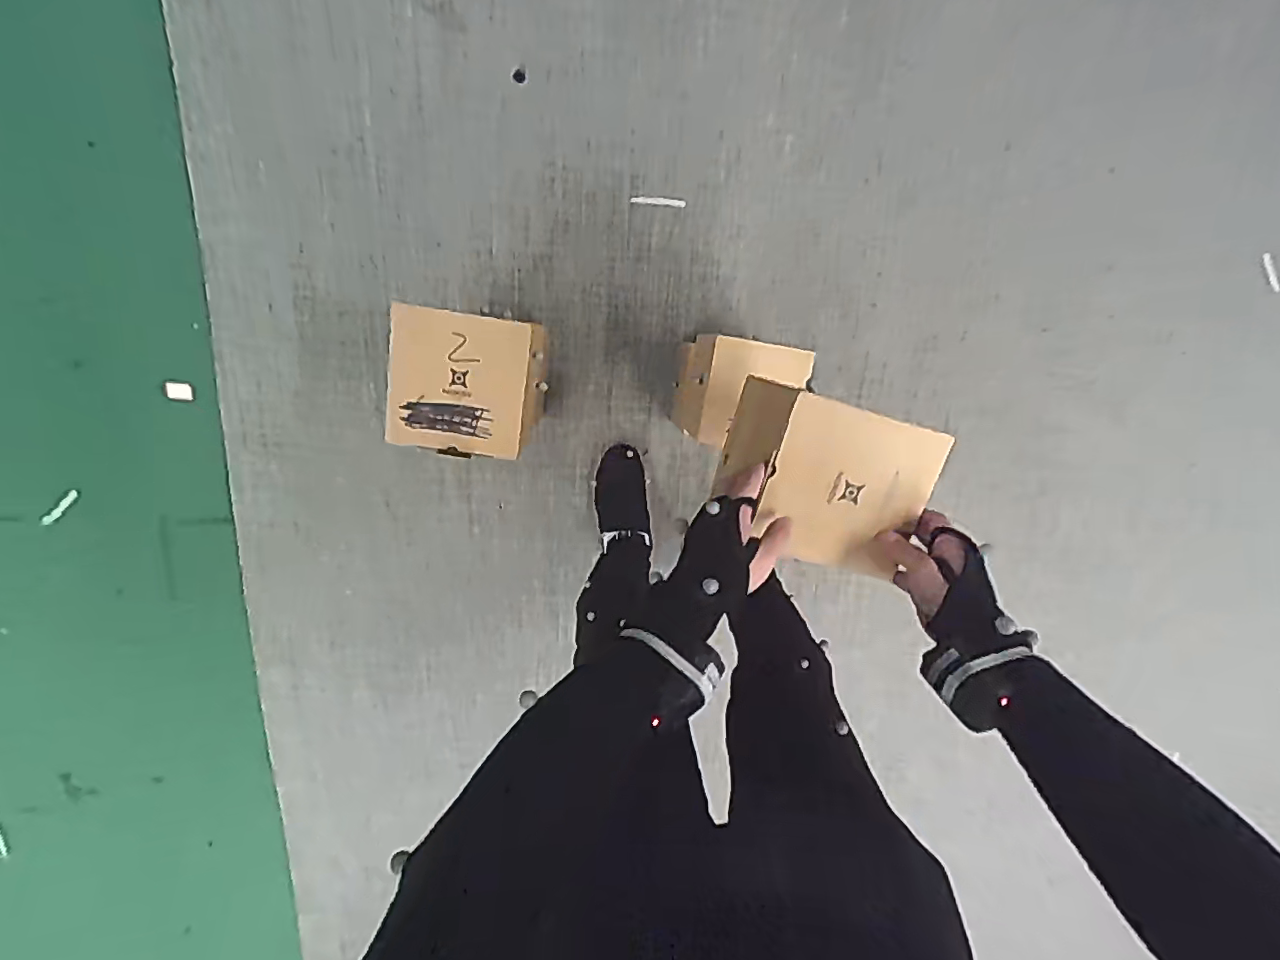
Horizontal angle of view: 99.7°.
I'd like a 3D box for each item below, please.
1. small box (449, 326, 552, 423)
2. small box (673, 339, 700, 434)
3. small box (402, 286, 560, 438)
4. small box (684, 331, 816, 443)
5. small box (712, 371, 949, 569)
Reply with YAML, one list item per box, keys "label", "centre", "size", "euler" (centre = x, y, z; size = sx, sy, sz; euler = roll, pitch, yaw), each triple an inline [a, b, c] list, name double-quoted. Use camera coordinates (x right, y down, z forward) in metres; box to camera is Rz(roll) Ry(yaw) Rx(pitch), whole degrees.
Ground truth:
- label: "small box"
  centre: [-0.268, -0.220, 1.064]
  size: [0.168, 0.176, 0.179]
  euler: [7, 103, -7]
- label: "small box"
  centre: [0.166, -0.191, 1.109]
  size: [0.168, 0.176, 0.179]
  euler: [5, 105, -6]
- label: "small box"
  centre: [-0.255, -0.198, 0.910]
  size: [0.179, 0.176, 0.168]
  euler: [39, 100, -13]
- label: "small box"
  centre: [0.181, -0.158, 0.948]
  size: [0.168, 0.176, 0.179]
  euler: [9, 104, -6]
- label: "small box"
  centre: [0.199, -0.022, 0.625]
  size: [0.179, 0.176, 0.168]
  euler: [15, 105, -10]
